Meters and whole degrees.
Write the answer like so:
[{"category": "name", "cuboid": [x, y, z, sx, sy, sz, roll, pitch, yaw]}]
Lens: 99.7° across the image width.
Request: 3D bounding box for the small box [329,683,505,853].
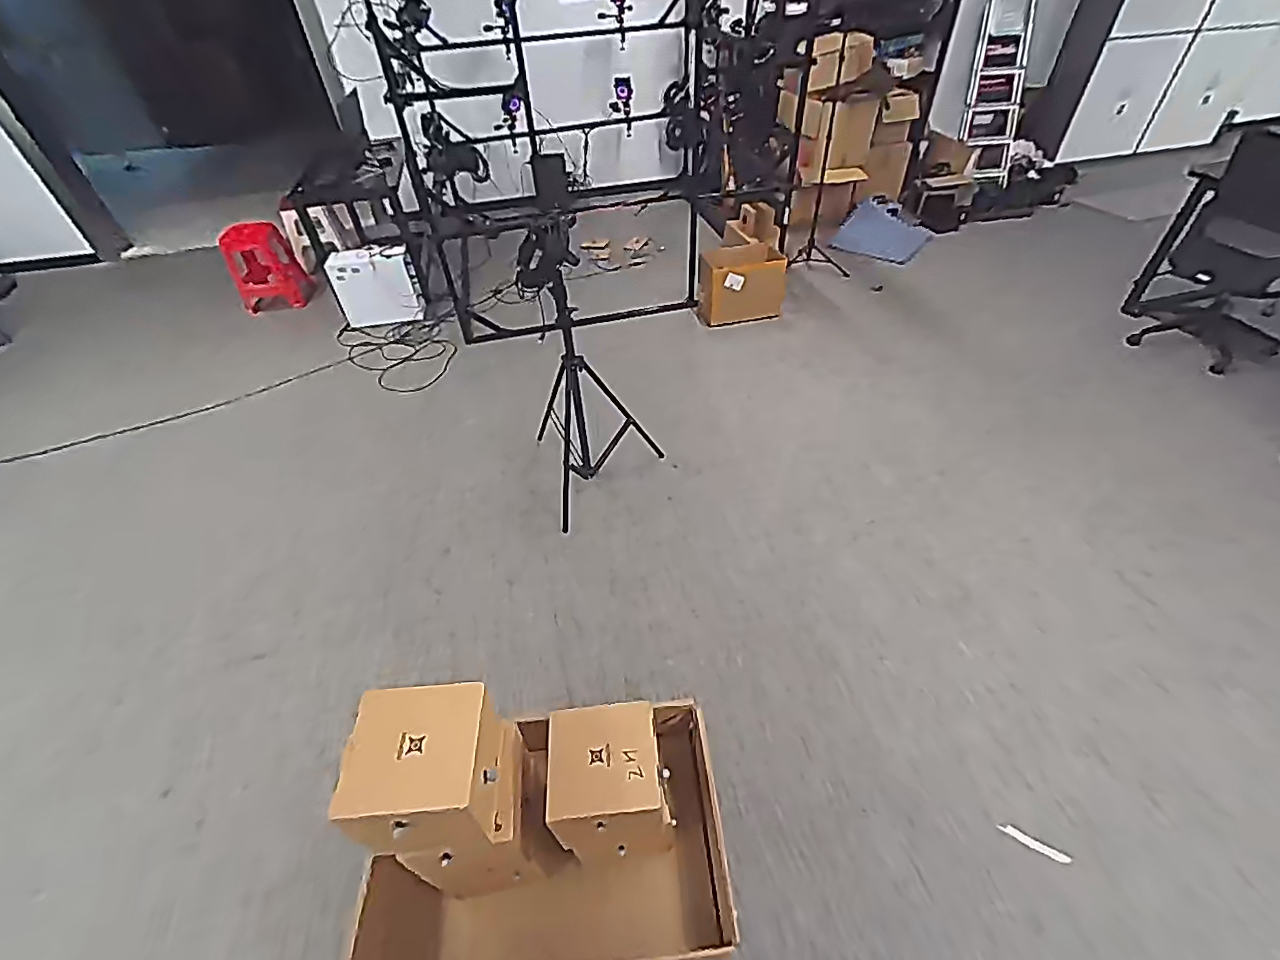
[{"category": "small box", "cuboid": [-0.297, 0.412, 0.773, 0.179, 0.176, 0.168, -4, 43, -3]}]
